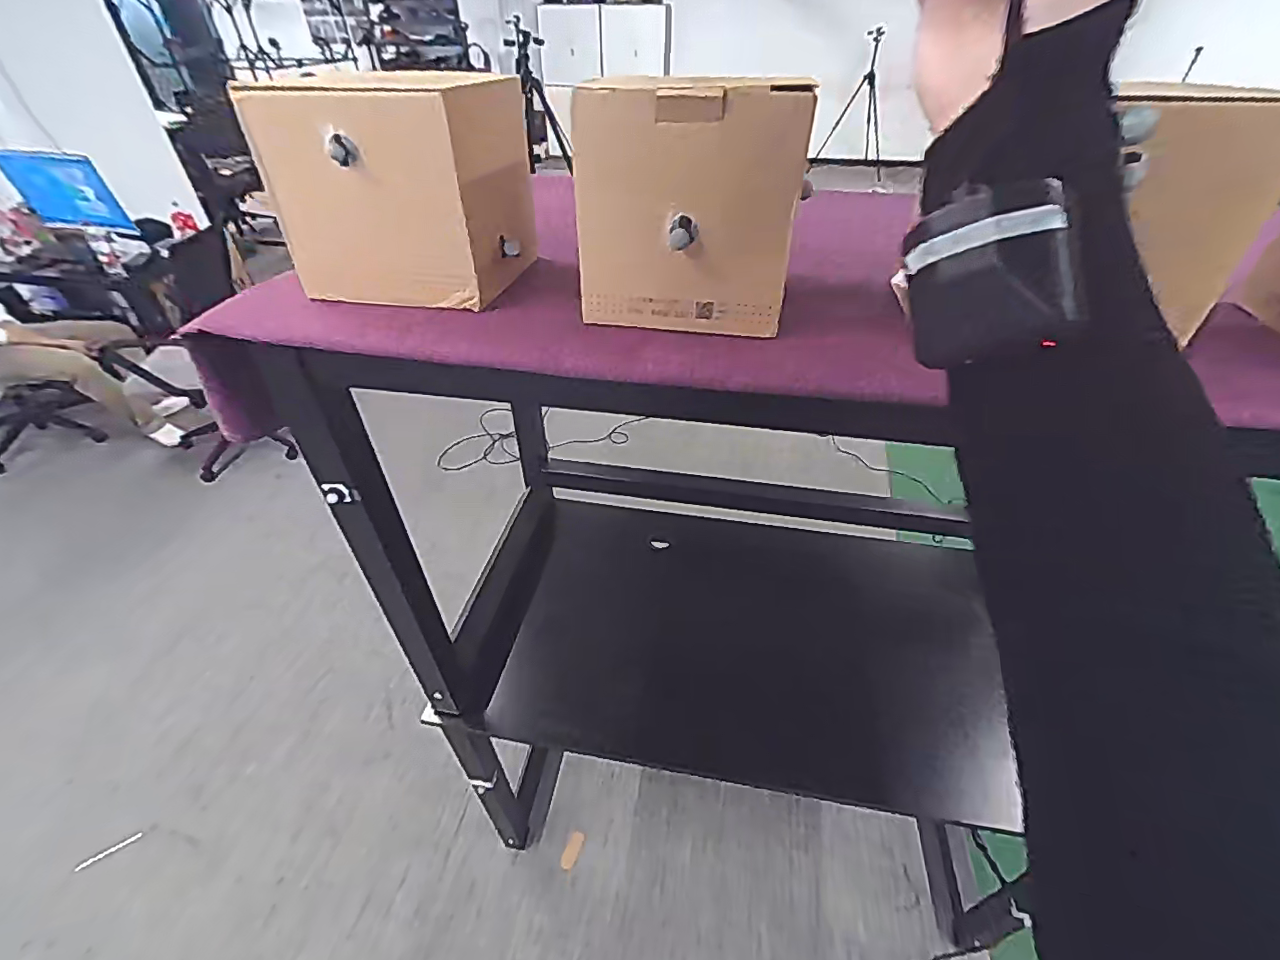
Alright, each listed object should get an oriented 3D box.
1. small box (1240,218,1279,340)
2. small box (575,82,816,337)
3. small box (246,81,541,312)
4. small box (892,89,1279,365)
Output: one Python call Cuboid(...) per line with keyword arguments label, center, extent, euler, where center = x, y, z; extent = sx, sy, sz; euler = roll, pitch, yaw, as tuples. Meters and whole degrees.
Cuboid(label="small box", center=(0.608, -0.169, 0.386), extent=(0.179, 0.176, 0.168), euler=(9, 41, 12))
Cuboid(label="small box", center=(0.047, -0.239, 0.474), extent=(0.168, 0.176, 0.179), euler=(7, 38, 5))
Cuboid(label="small box", center=(-0.207, -0.271, 0.514), extent=(0.179, 0.176, 0.168), euler=(7, 40, 7))
Cuboid(label="small box", center=(0.327, -0.205, 0.436), extent=(0.179, 0.176, 0.168), euler=(6, 38, 10))
